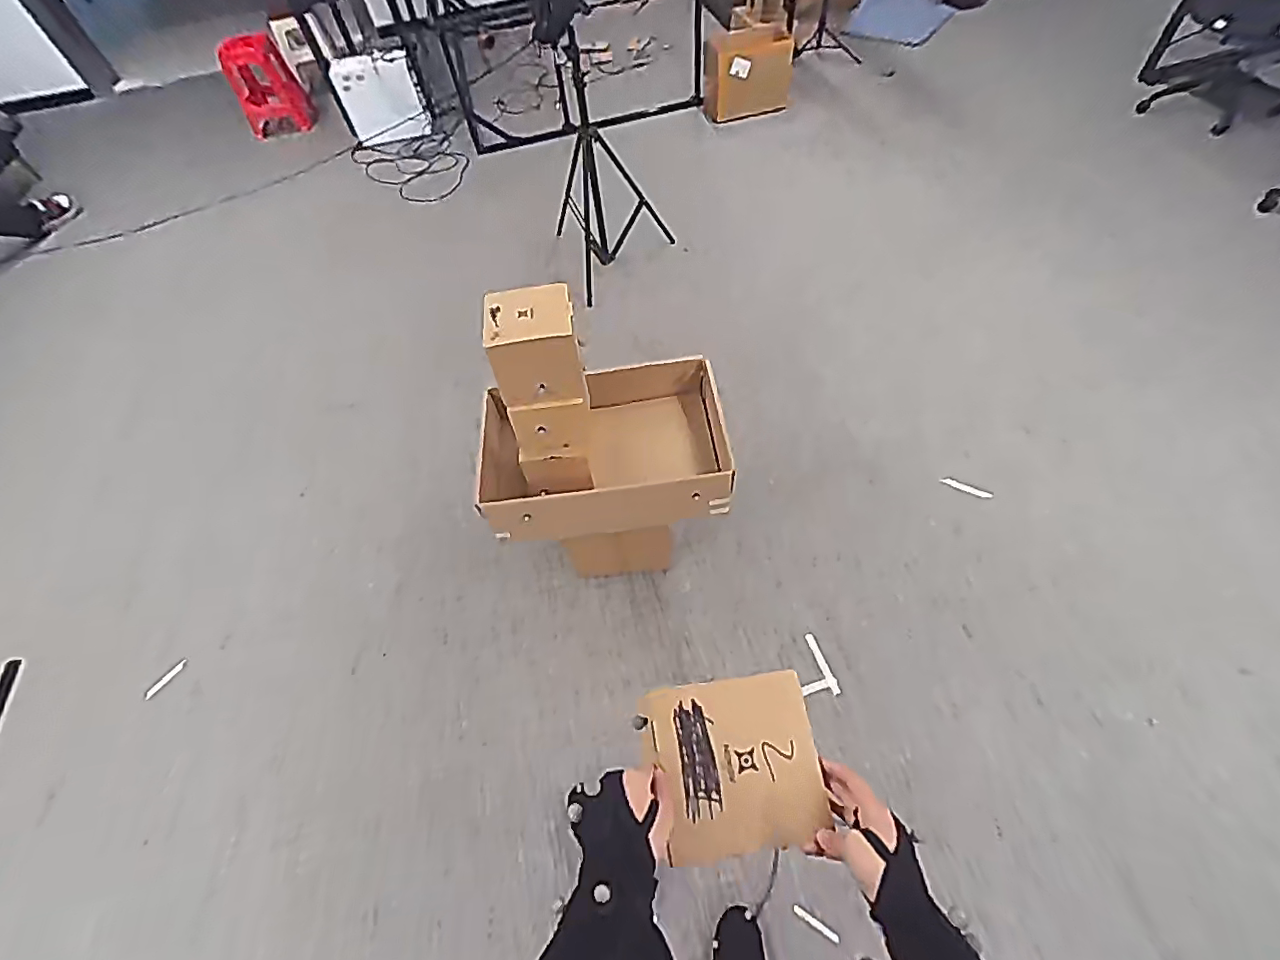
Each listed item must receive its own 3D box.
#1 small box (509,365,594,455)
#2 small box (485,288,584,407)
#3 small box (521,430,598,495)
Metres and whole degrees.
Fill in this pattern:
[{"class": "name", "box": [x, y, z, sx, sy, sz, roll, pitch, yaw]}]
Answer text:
[{"class": "small box", "box": [-0.203, -0.173, 1.264, 0.168, 0.176, 0.179, -7, 55, -1]}, {"class": "small box", "box": [-0.214, -0.274, 1.135, 0.179, 0.176, 0.168, -8, 54, -2]}, {"class": "small box", "box": [-0.200, -0.072, 1.391, 0.168, 0.176, 0.179, -5, 55, 1]}]
